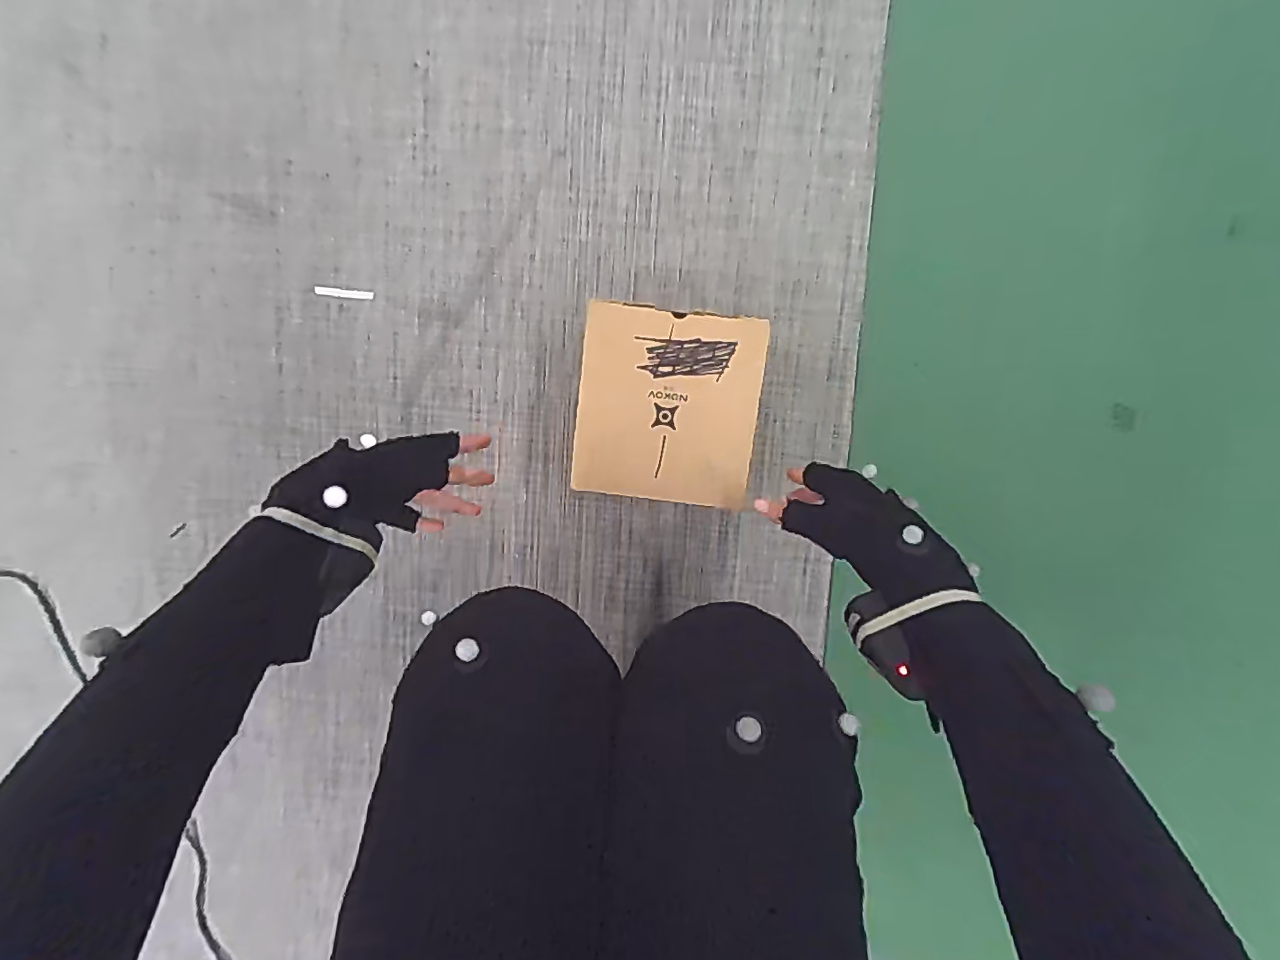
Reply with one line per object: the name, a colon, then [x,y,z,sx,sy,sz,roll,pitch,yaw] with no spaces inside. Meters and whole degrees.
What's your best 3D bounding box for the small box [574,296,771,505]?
small box: [0.030,-0.083,0.579,0.168,0.176,0.179,7,99,2]
